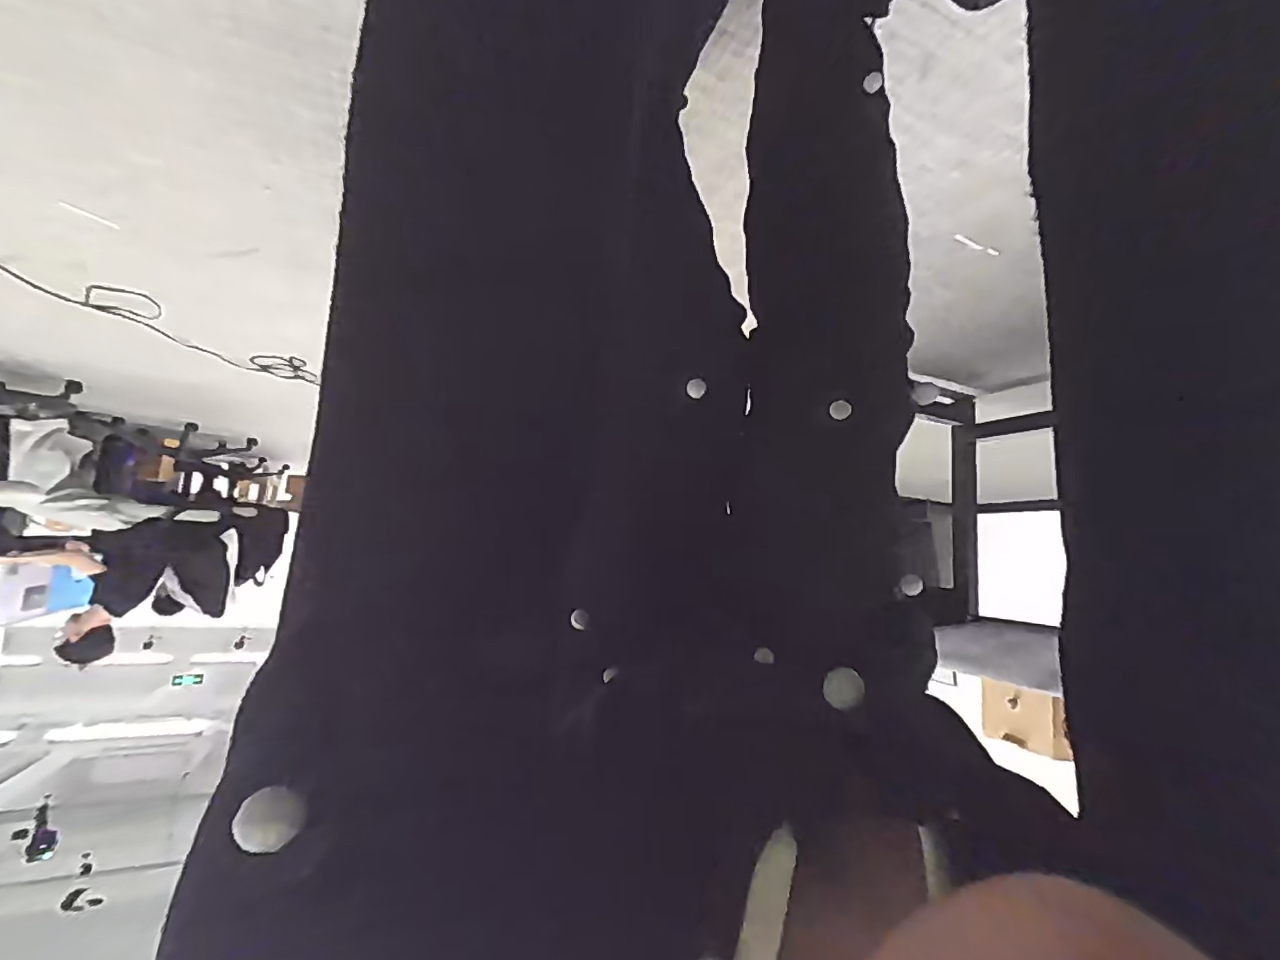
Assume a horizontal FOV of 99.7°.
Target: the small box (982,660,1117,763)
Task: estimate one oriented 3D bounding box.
[{"bbox_3d":[0.865,0.486,1.154,0.179,0.176,0.168,6,172,-15],"label":"small box"}]
